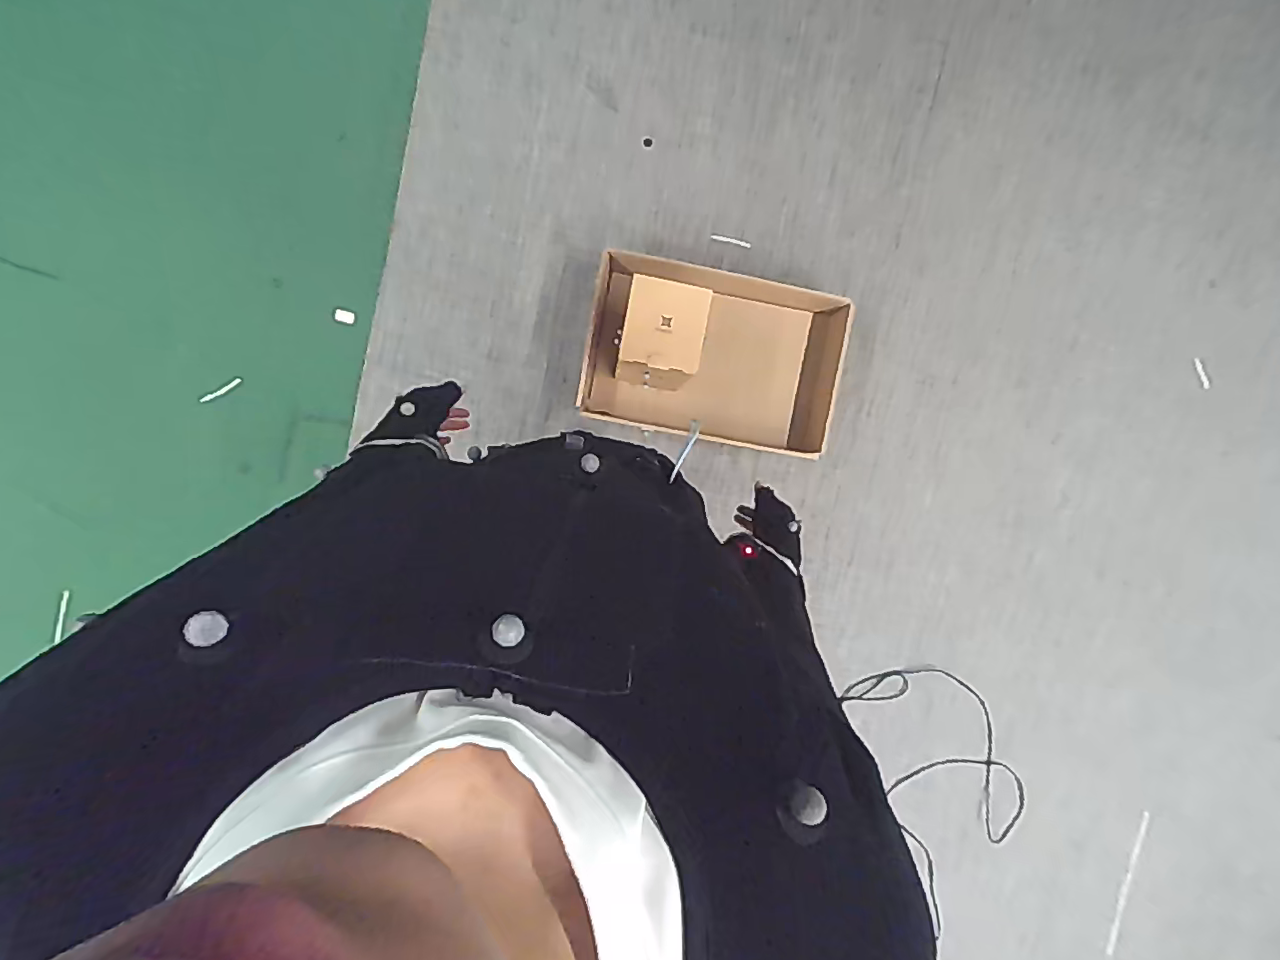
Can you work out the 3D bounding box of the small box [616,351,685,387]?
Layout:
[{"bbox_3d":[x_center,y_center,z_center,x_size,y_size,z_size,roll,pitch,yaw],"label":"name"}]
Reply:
[{"bbox_3d":[0.037,-0.336,1.322,0.168,0.176,0.179,12,94,-4],"label":"small box"}]

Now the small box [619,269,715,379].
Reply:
[{"bbox_3d":[0.048,-0.325,1.159,0.168,0.176,0.179,10,94,-5],"label":"small box"}]
